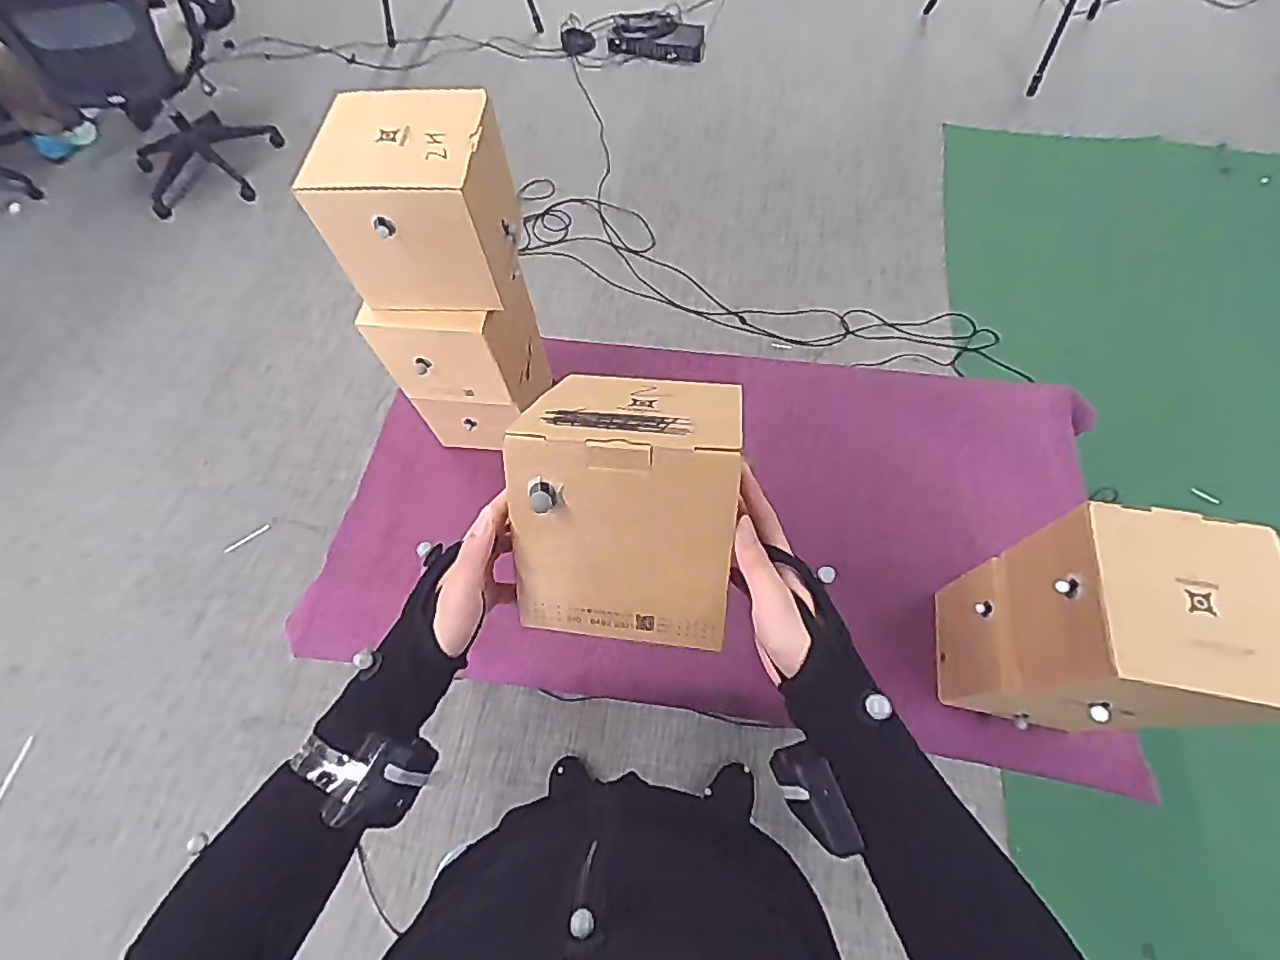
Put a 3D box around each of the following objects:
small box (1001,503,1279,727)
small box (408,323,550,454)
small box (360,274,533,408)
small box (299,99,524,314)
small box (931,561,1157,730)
[{"bbox_3d":[0.512,0.148,0.572,0.168,0.176,0.179,9,64,9],"label":"small box"},{"bbox_3d":[-0.261,-0.156,0.929,0.179,0.176,0.168,4,64,4],"label":"small box"},{"bbox_3d":[-0.262,-0.222,0.781,0.168,0.176,0.179,5,64,4],"label":"small box"},{"bbox_3d":[-0.251,-0.316,0.644,0.179,0.176,0.168,2,64,2],"label":"small box"},{"bbox_3d":[0.514,0.225,0.716,0.179,0.176,0.168,11,63,7],"label":"small box"}]
